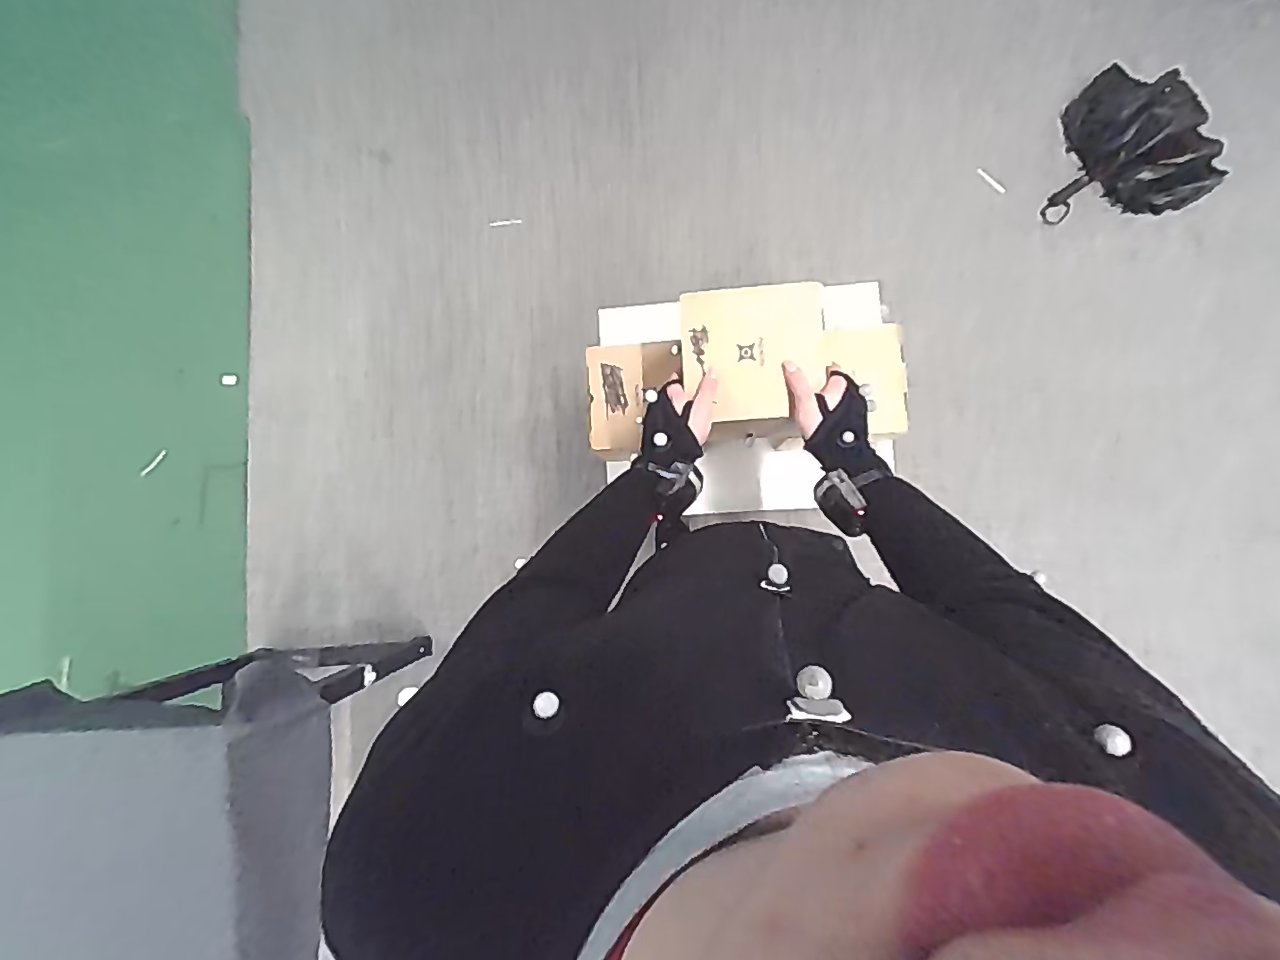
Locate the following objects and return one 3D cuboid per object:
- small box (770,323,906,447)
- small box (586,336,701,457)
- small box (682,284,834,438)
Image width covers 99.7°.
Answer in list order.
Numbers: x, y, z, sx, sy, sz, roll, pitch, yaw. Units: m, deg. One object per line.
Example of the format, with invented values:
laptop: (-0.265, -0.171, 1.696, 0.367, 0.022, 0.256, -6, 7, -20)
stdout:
small box: (0.310, -0.145, 0.881, 0.179, 0.176, 0.168, -2, 87, 7)
small box: (0.012, -0.131, 0.907, 0.179, 0.176, 0.168, -3, 87, 3)
small box: (0.149, -0.150, 0.734, 0.179, 0.176, 0.168, -3, 87, 4)
